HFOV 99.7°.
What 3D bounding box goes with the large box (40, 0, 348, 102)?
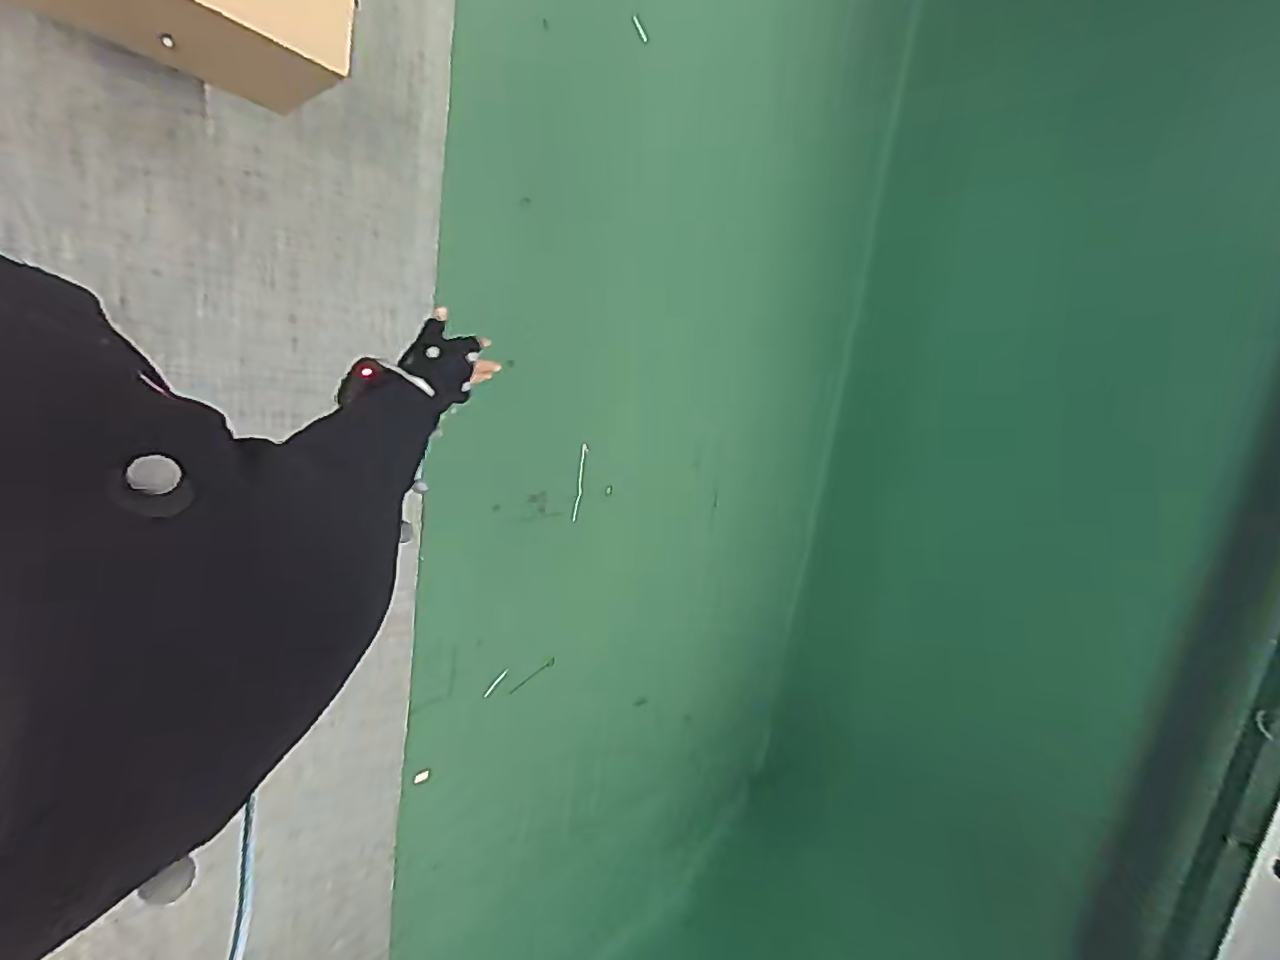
[{"bbox_3d":[-0.699,-0.845,0.803,0.408,0.320,0.320,-2,105,-50],"label":"large box"}]
